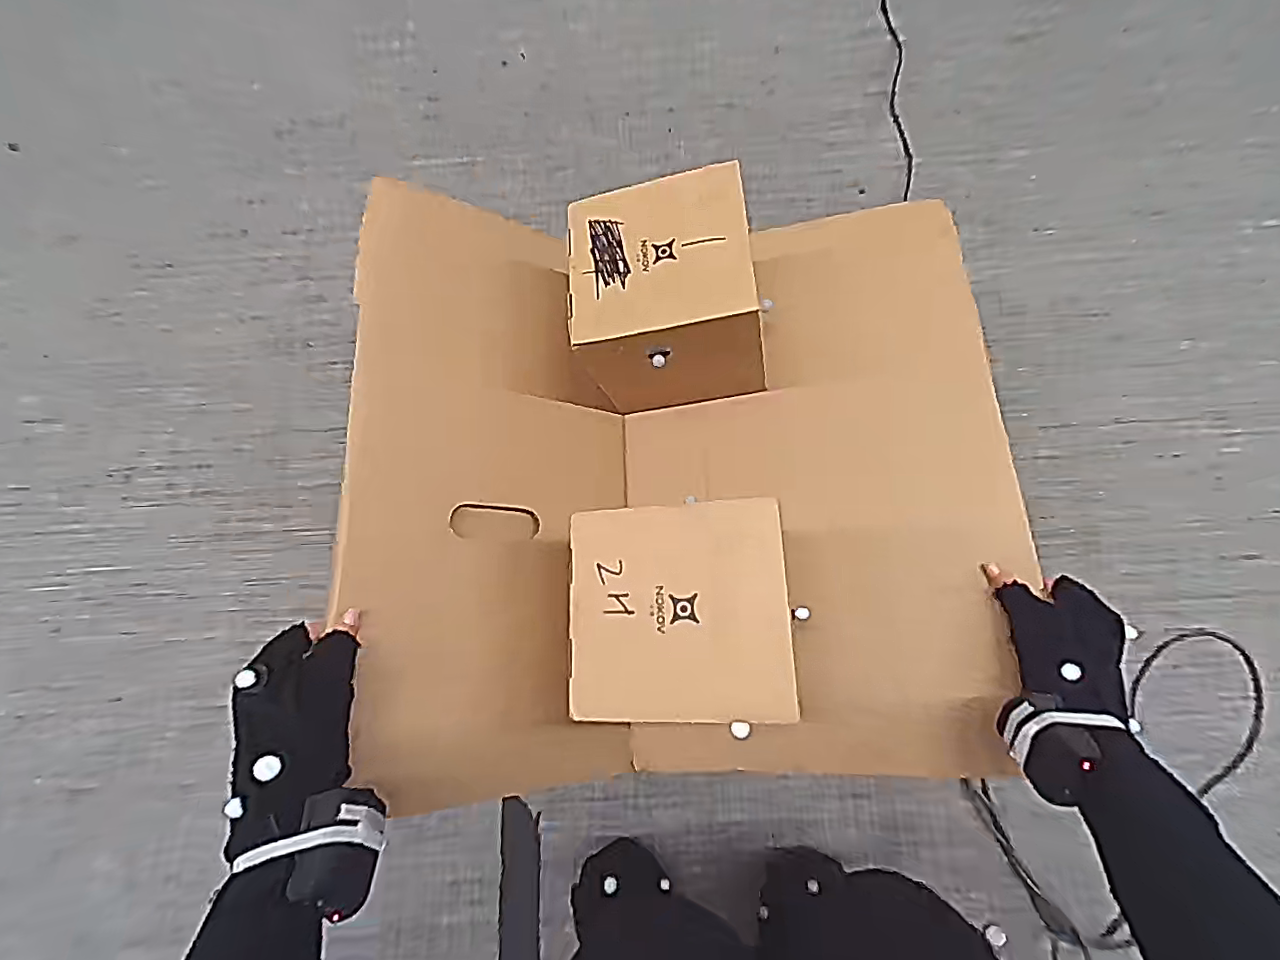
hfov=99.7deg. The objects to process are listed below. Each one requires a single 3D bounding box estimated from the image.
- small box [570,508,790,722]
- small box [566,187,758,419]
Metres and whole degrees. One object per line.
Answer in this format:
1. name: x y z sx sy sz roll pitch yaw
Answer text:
1. small box: 0.046 0.127 0.515 0.179 0.176 0.168 -6 73 15
2. small box: 0.030 -0.180 0.605 0.179 0.176 0.168 -8 73 13
